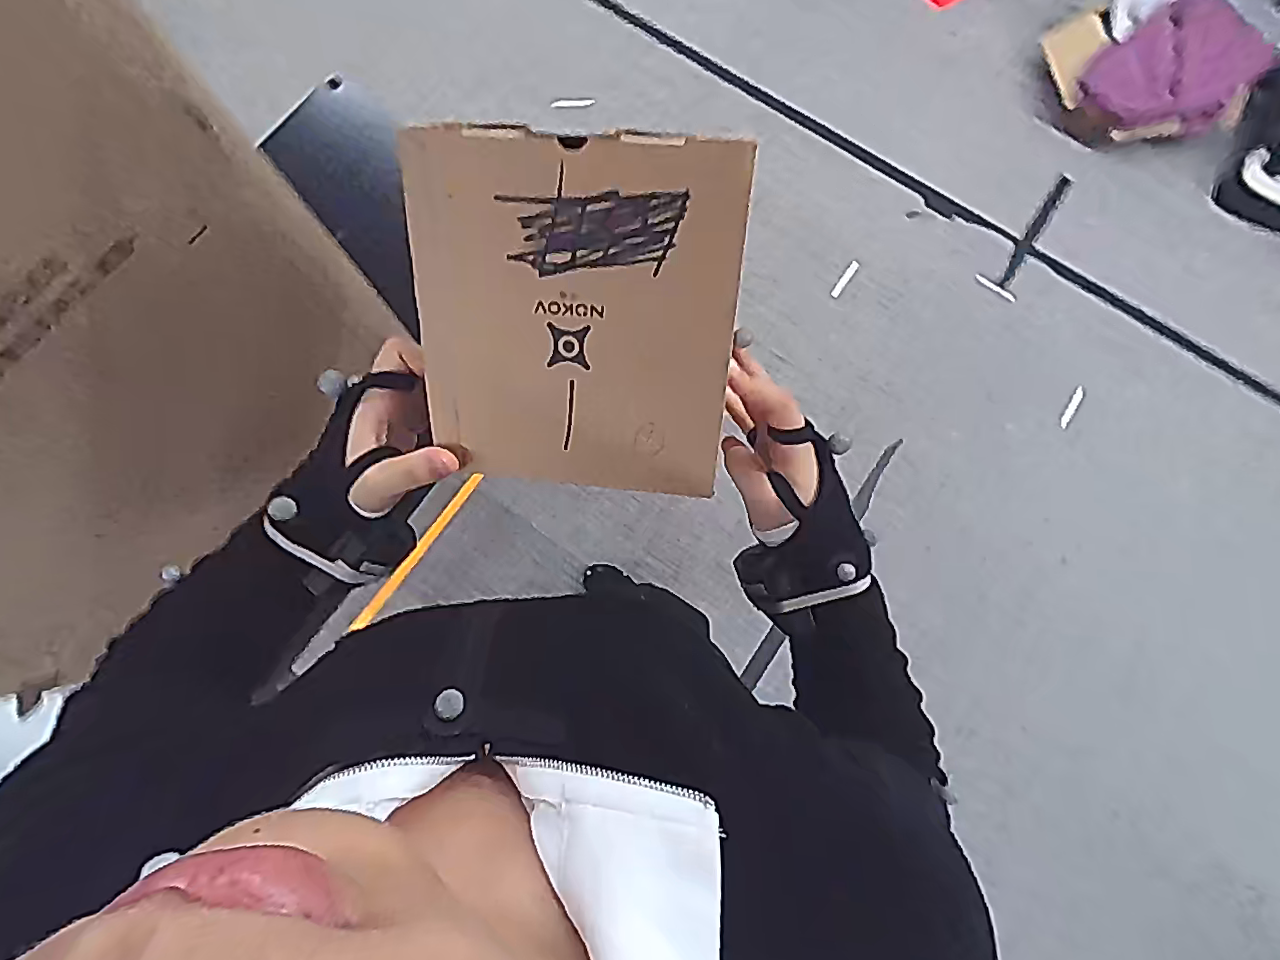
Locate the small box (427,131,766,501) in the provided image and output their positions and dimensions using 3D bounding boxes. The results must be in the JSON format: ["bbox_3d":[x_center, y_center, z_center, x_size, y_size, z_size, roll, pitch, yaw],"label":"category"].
[{"bbox_3d":[-0.019,-0.106,0.357,0.168,0.176,0.179,7,113,6],"label":"small box"}]
